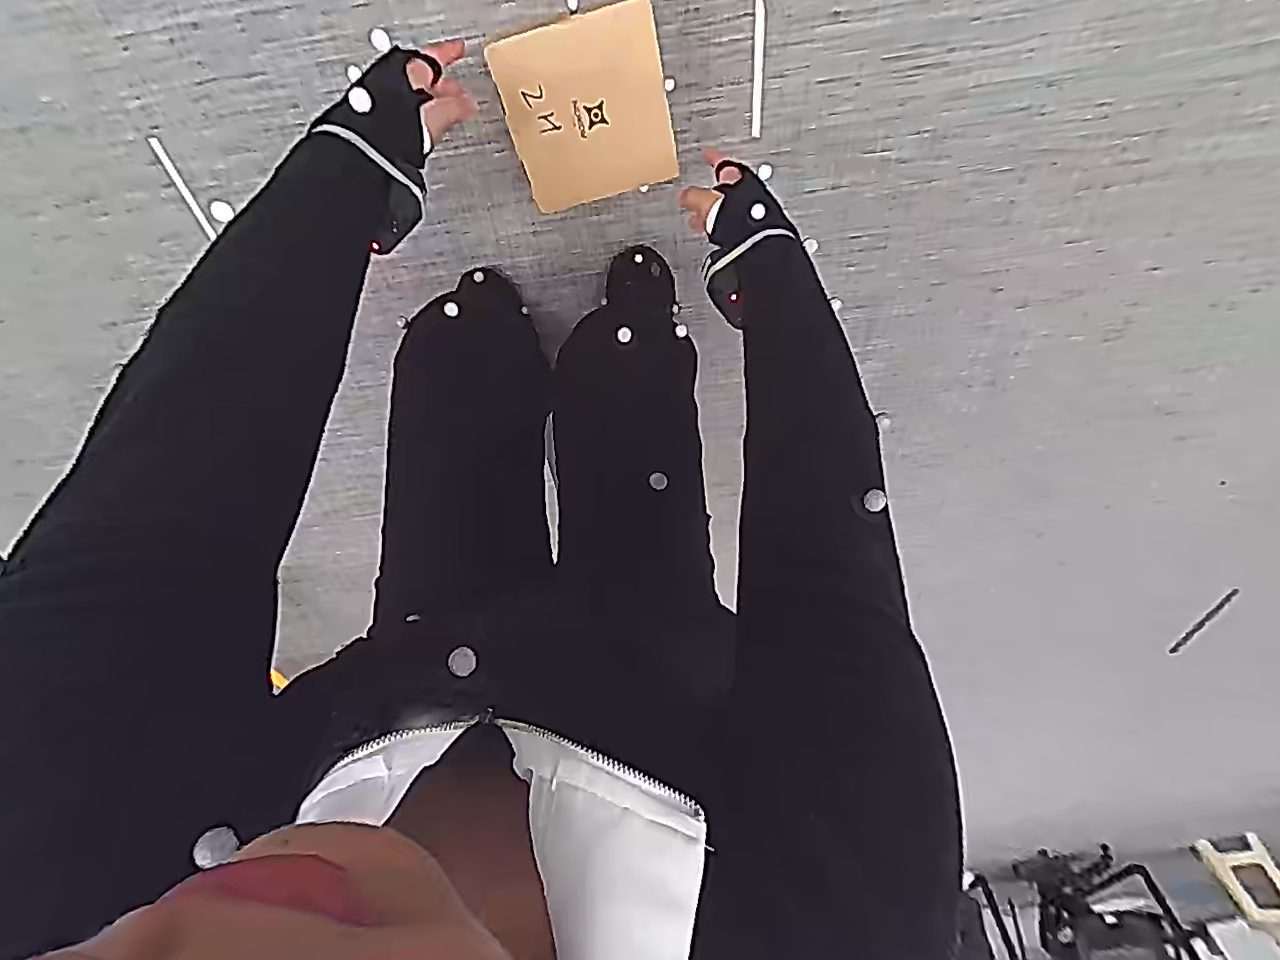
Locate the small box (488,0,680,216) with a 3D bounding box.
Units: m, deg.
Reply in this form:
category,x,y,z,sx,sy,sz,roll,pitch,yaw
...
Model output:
category,x,y,z,sx,sy,sz,roll,pitch,yaw
small box,-0.058,-0.444,0.642,0.179,0.176,0.168,-11,132,7
